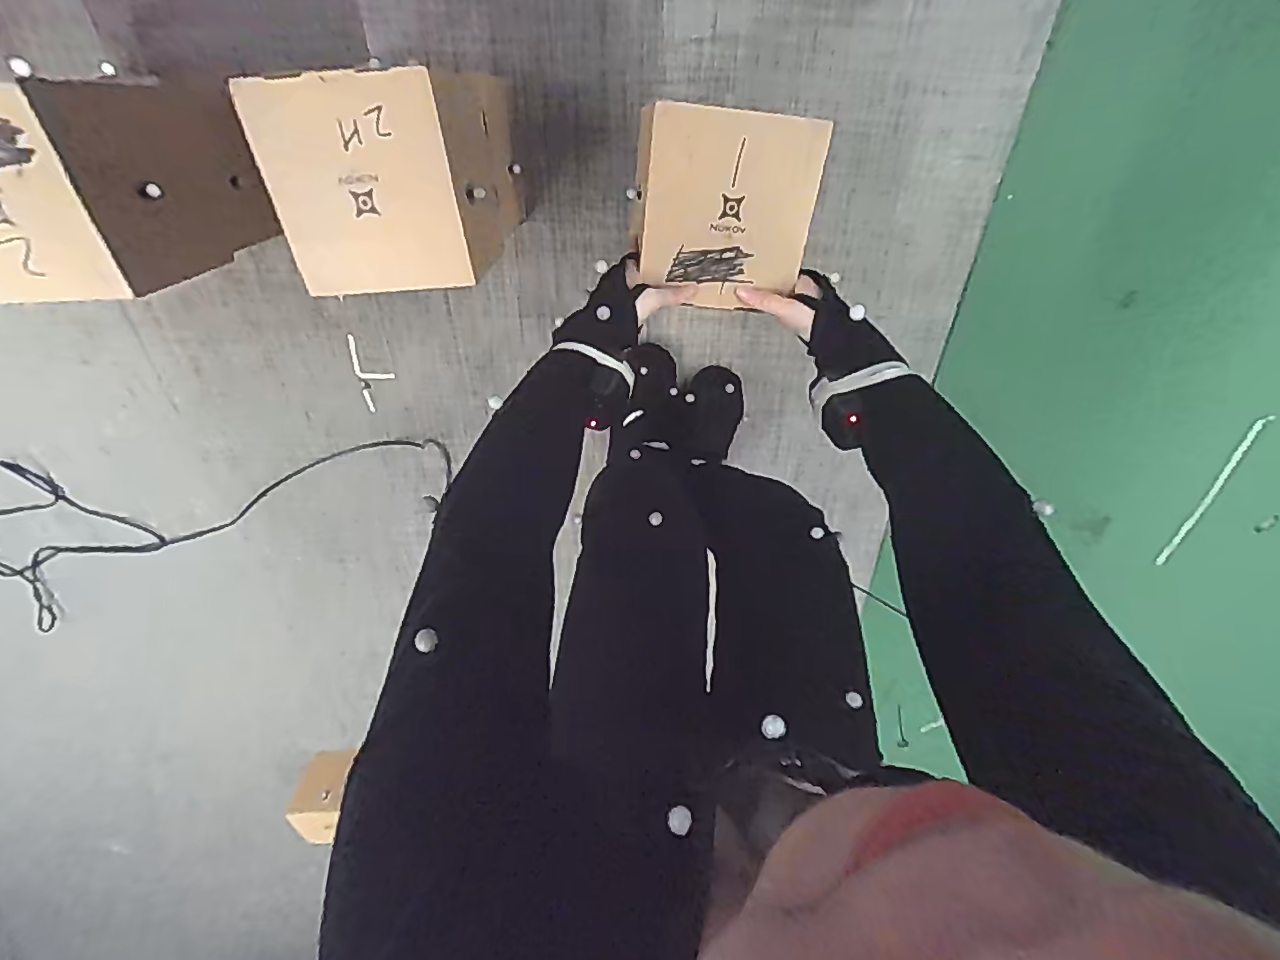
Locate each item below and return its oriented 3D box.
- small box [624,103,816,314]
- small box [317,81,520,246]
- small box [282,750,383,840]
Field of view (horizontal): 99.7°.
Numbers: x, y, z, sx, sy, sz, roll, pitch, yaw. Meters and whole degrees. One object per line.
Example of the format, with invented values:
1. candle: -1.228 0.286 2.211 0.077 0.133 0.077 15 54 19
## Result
1. small box: 0.071 -0.302 0.604 0.168 0.176 0.179 3 121 -6
2. small box: -0.263 -0.402 0.690 0.179 0.176 0.168 -2 124 0
3. small box: -0.854 0.885 1.529 0.179 0.176 0.168 -3 123 1
